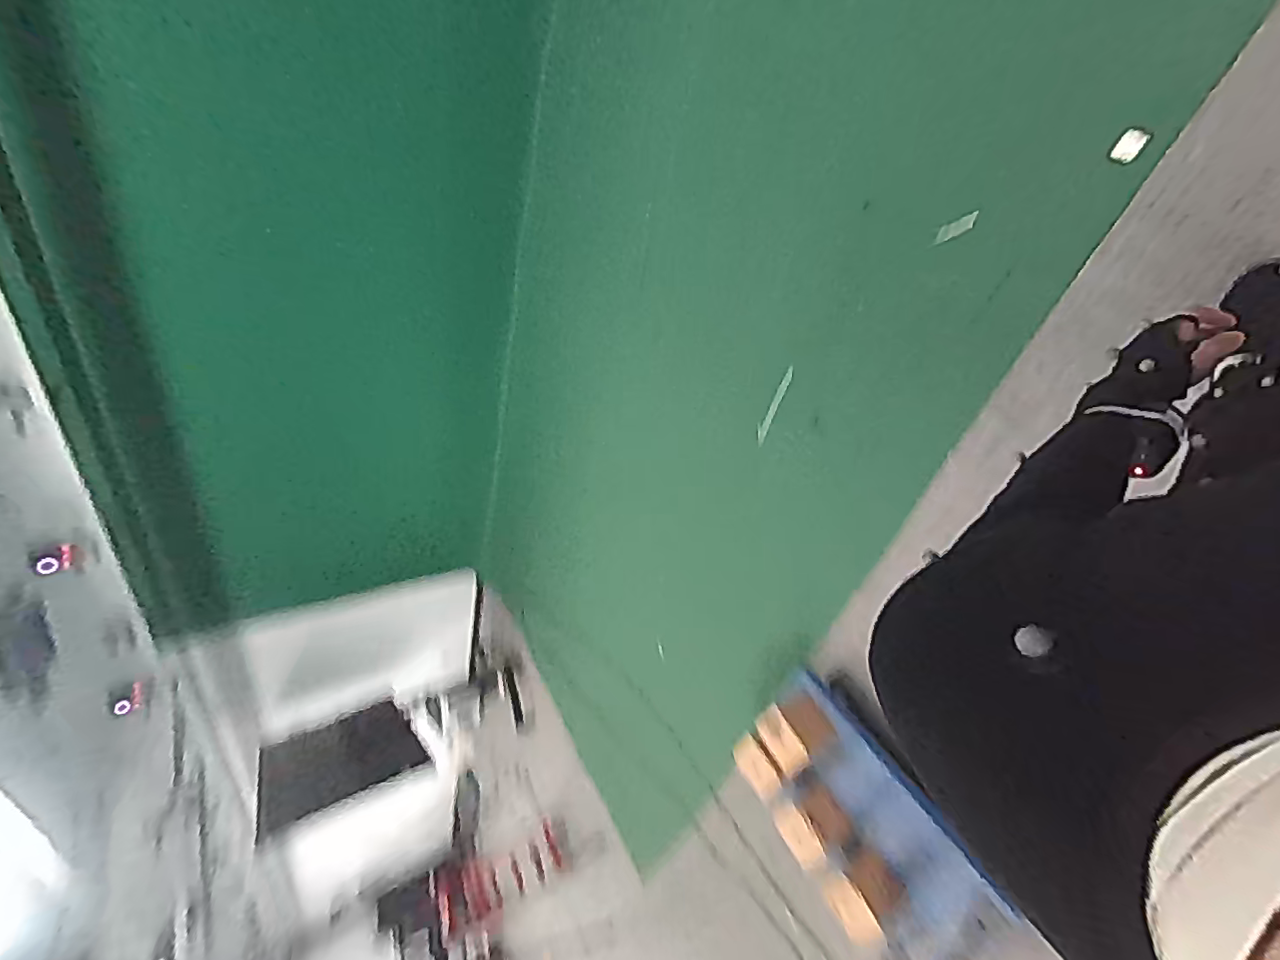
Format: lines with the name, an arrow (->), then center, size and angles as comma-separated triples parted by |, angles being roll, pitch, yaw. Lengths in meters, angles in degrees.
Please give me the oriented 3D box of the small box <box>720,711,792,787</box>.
small box -> 0.447, 1.027, 2.076 | 0.179, 0.176, 0.168 | 50, 135, 34
